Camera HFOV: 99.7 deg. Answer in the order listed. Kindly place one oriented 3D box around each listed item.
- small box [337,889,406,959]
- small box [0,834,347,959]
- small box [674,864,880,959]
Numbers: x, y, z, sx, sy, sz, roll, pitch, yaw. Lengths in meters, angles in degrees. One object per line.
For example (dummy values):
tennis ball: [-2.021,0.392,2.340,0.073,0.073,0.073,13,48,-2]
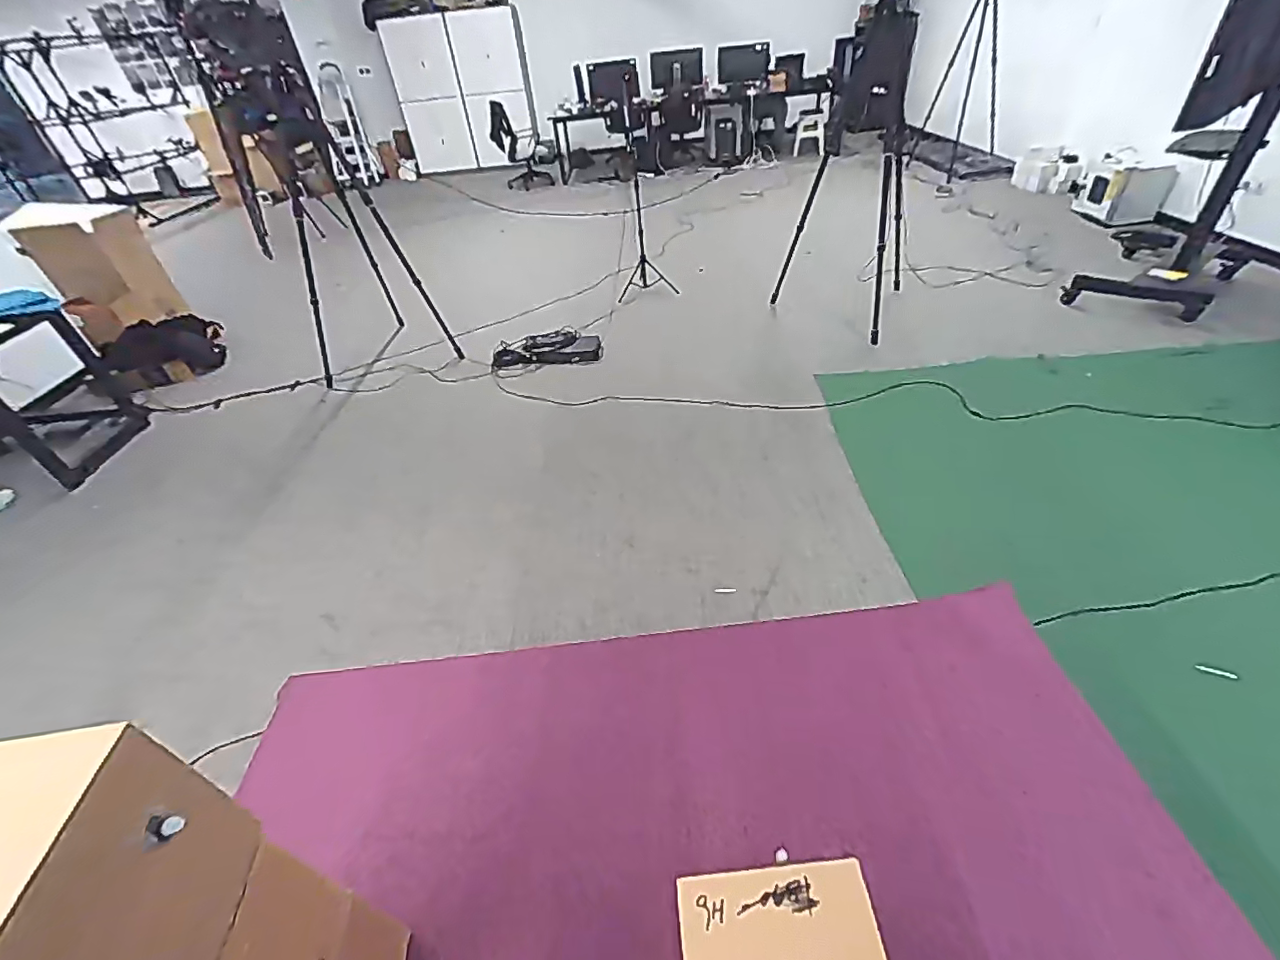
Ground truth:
small box: [-0.346,0.527,0.516,0.168,0.176,0.179,-6,39,-1]
small box: [-0.364,0.404,0.413,0.179,0.176,0.168,-7,40,-3]
small box: [0.129,0.466,0.487,0.168,0.176,0.179,-9,48,4]
